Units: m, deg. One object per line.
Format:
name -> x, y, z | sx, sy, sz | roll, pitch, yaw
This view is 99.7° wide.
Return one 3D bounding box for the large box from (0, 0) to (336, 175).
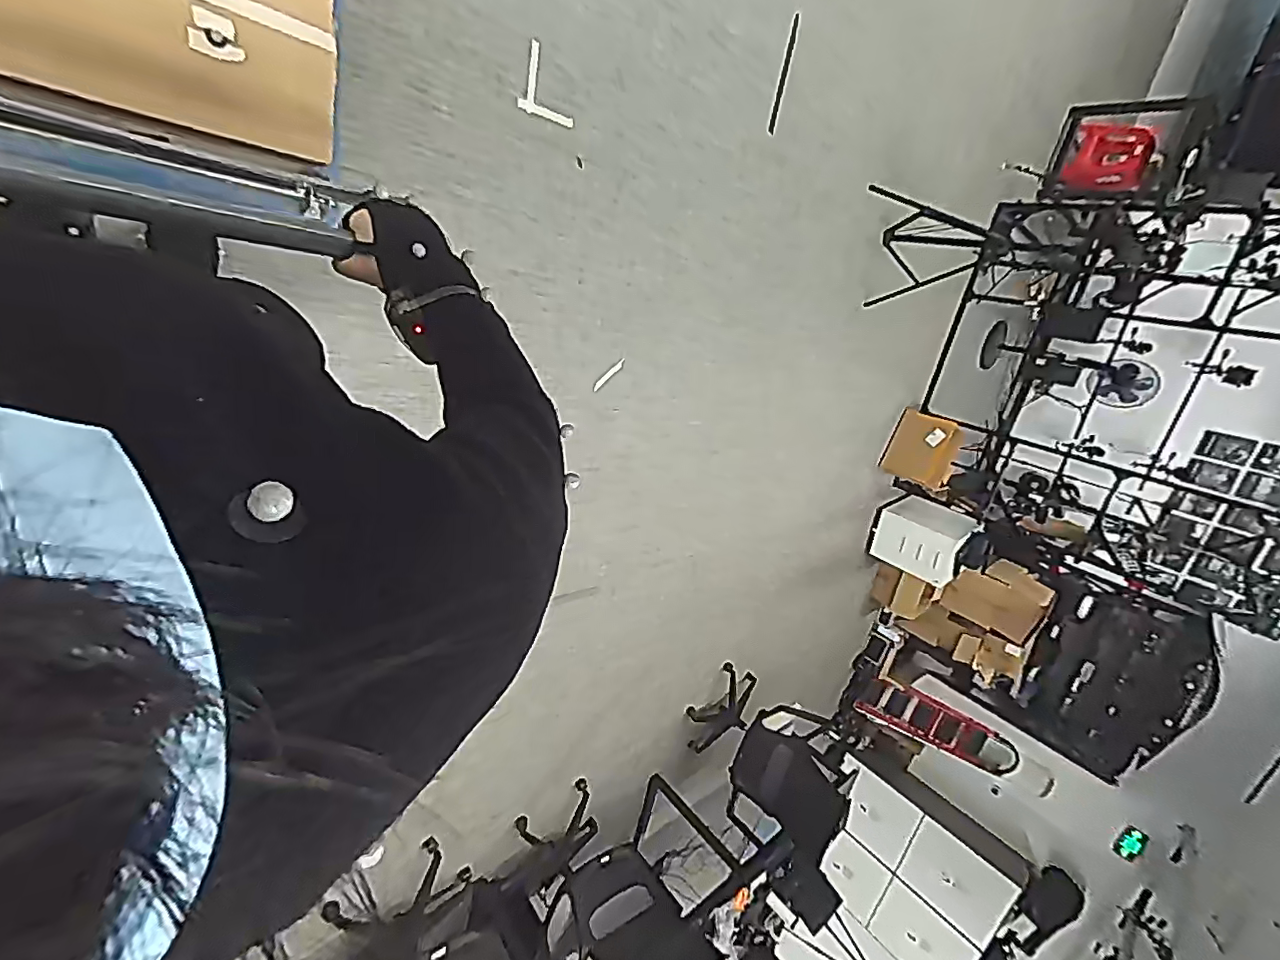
large box -> -0.674, -0.635, 0.724 | 0.408, 0.320, 0.320 | -7, 117, -44
